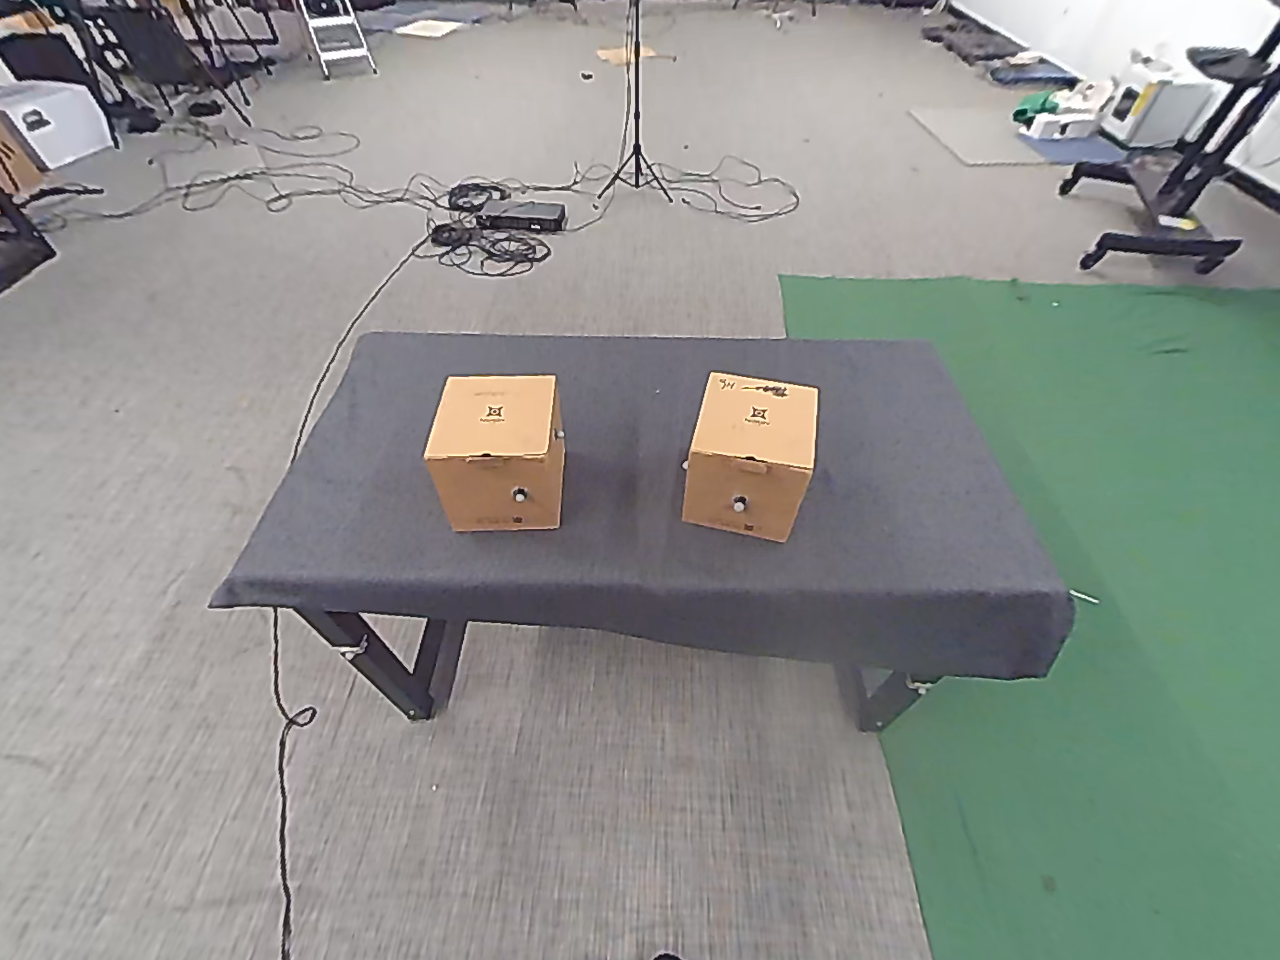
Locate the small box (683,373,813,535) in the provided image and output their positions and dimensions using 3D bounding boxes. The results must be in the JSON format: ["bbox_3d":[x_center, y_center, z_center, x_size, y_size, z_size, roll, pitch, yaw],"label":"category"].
[{"bbox_3d":[0.163,-0.037,0.842,0.168,0.176,0.179,11,51,9],"label":"small box"}]

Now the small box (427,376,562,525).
[{"bbox_3d":[-0.211,-0.041,0.842,0.168,0.176,0.179,-1,47,-4],"label":"small box"}]
